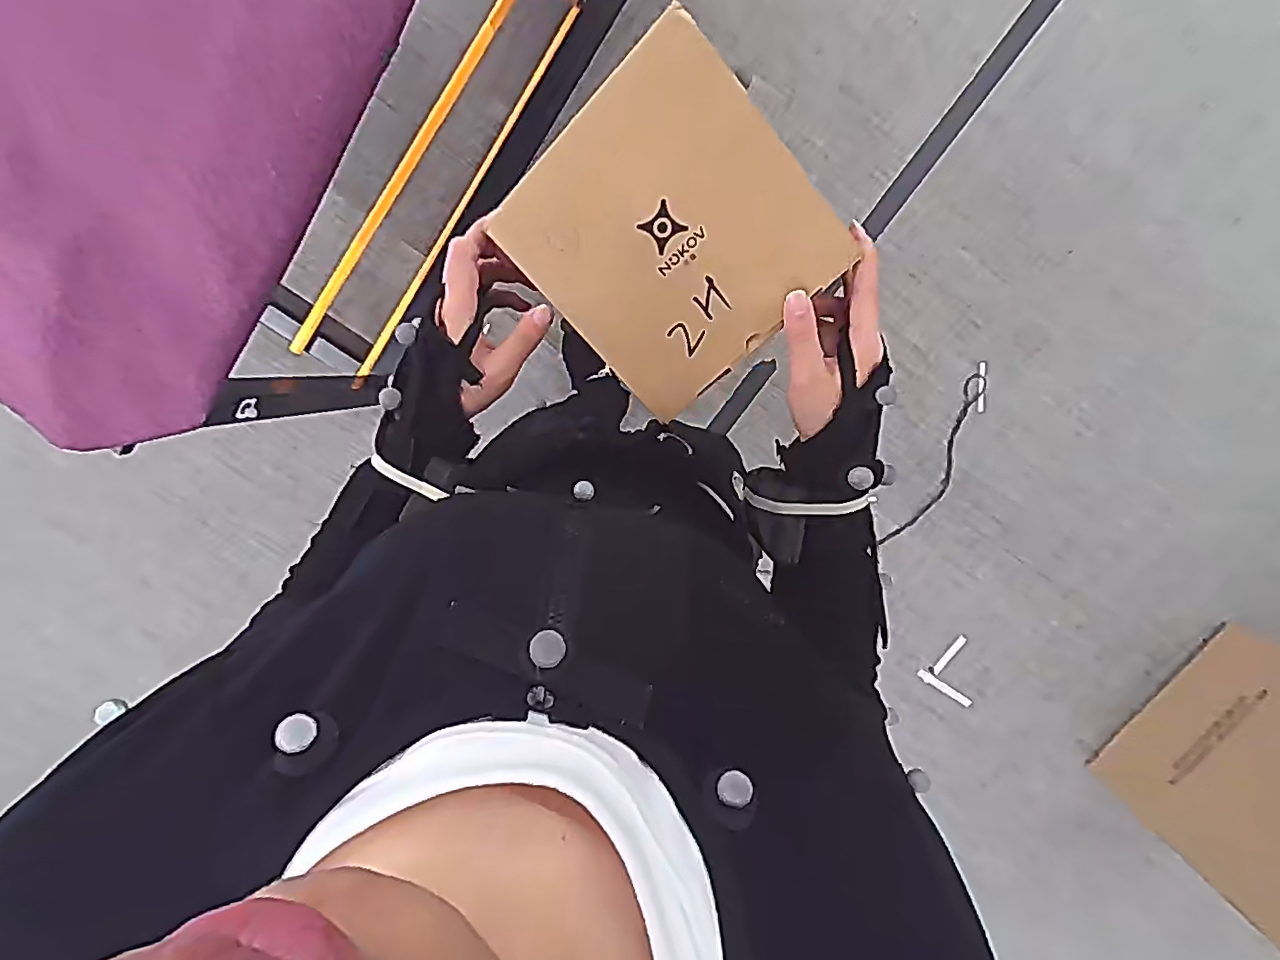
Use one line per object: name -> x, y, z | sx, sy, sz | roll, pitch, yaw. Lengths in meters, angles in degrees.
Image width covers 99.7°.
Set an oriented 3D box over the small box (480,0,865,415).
small box -> 0.024, -0.179, 0.397 | 0.168, 0.176, 0.179 | -39, 104, 19
